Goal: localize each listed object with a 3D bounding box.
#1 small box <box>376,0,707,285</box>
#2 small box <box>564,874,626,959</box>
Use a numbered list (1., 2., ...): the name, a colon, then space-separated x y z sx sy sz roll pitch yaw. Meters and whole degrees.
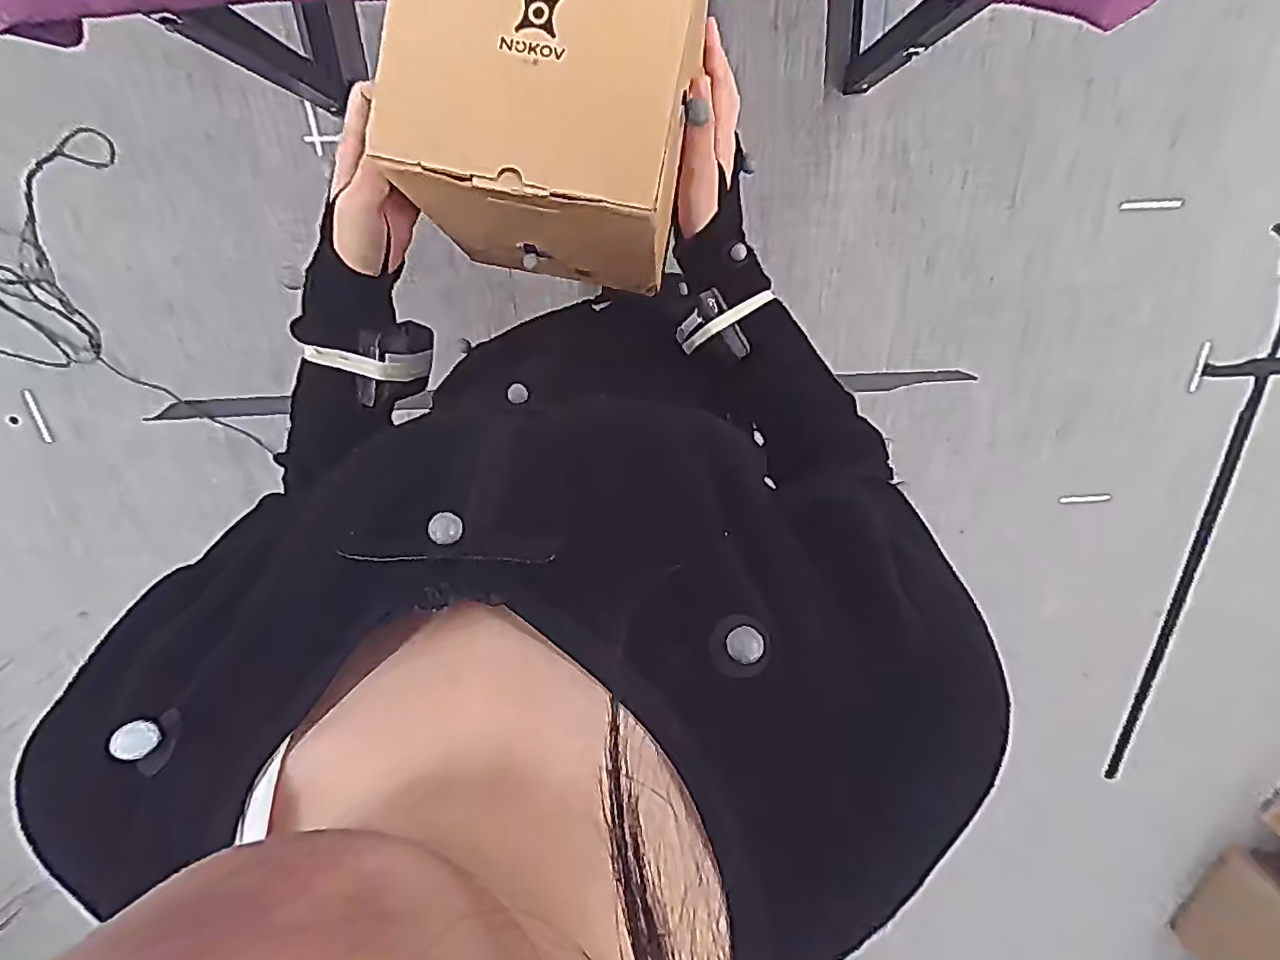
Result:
1. small box: -0.050 -0.256 0.374 0.168 0.176 0.179 11 96 1
2. small box: -0.135 1.359 1.676 0.179 0.176 0.168 -3 111 -1
